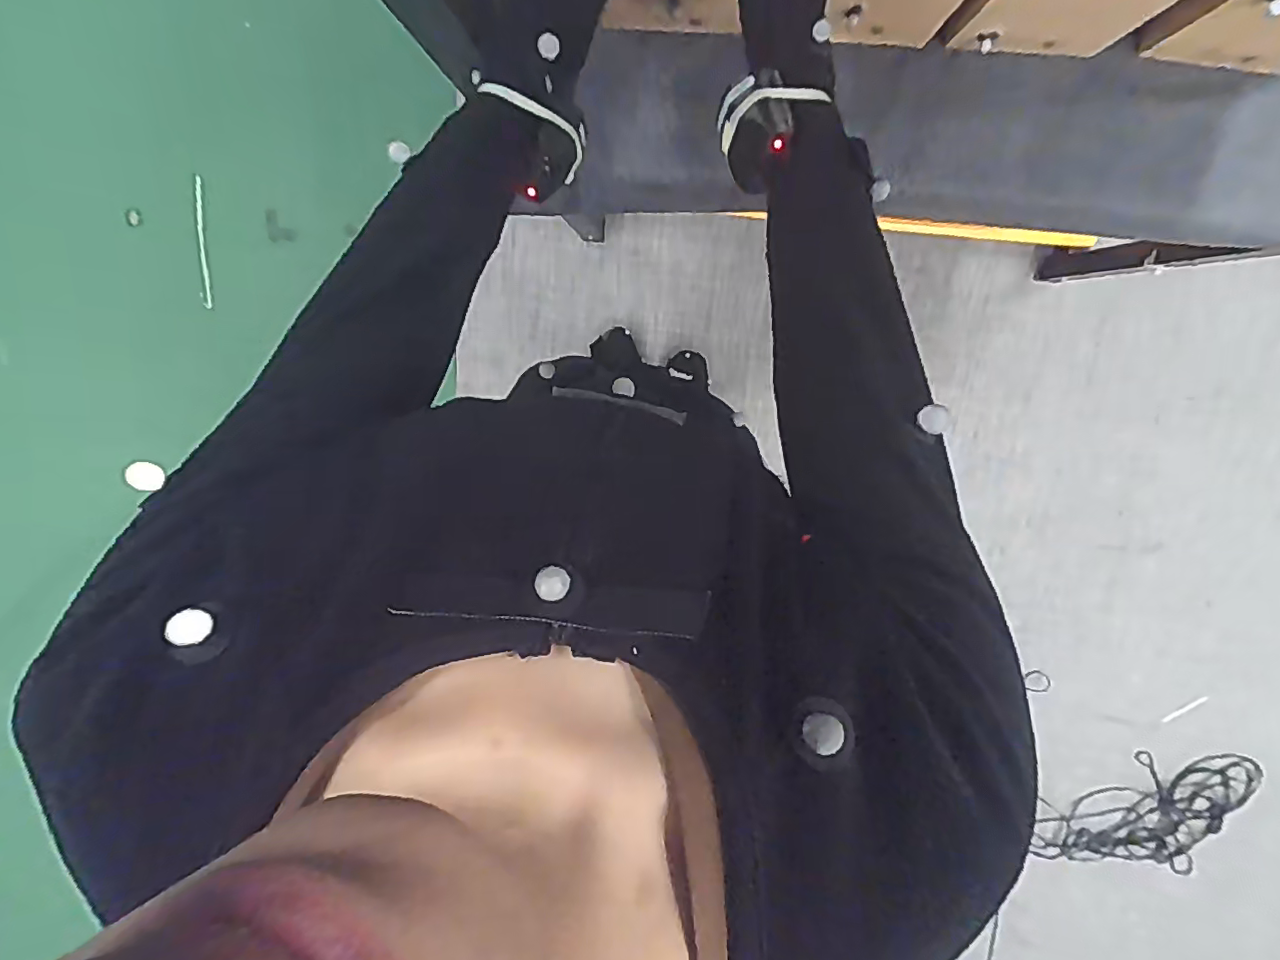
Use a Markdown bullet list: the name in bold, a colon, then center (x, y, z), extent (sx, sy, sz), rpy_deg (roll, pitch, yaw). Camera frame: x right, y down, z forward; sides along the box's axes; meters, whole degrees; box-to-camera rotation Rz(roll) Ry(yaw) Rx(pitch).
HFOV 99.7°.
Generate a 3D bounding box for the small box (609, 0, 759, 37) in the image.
- **small box**: center (0.047, -0.572, 0.514), extent (0.168, 0.176, 0.179), rpy_deg (4, 105, 2)
